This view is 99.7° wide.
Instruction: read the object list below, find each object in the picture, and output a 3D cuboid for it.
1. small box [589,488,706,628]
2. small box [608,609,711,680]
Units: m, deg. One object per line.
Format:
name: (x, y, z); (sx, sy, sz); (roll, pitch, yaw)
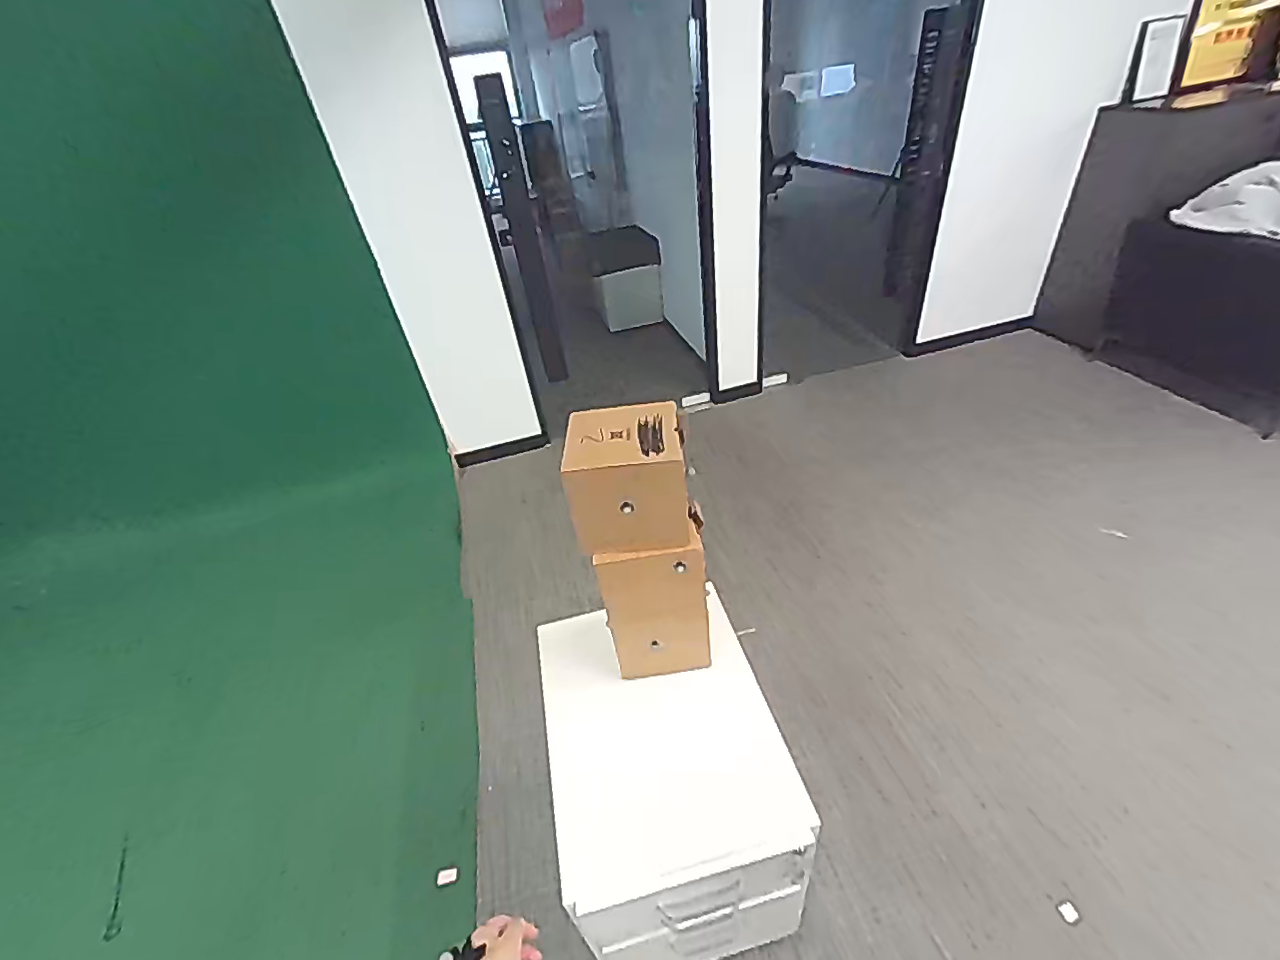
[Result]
small box: (0.013, 0.140, 0.950); (0.179, 0.176, 0.168); (-9, 37, -1)
small box: (0.035, 0.265, 1.050); (0.179, 0.176, 0.168); (-9, 37, 0)
